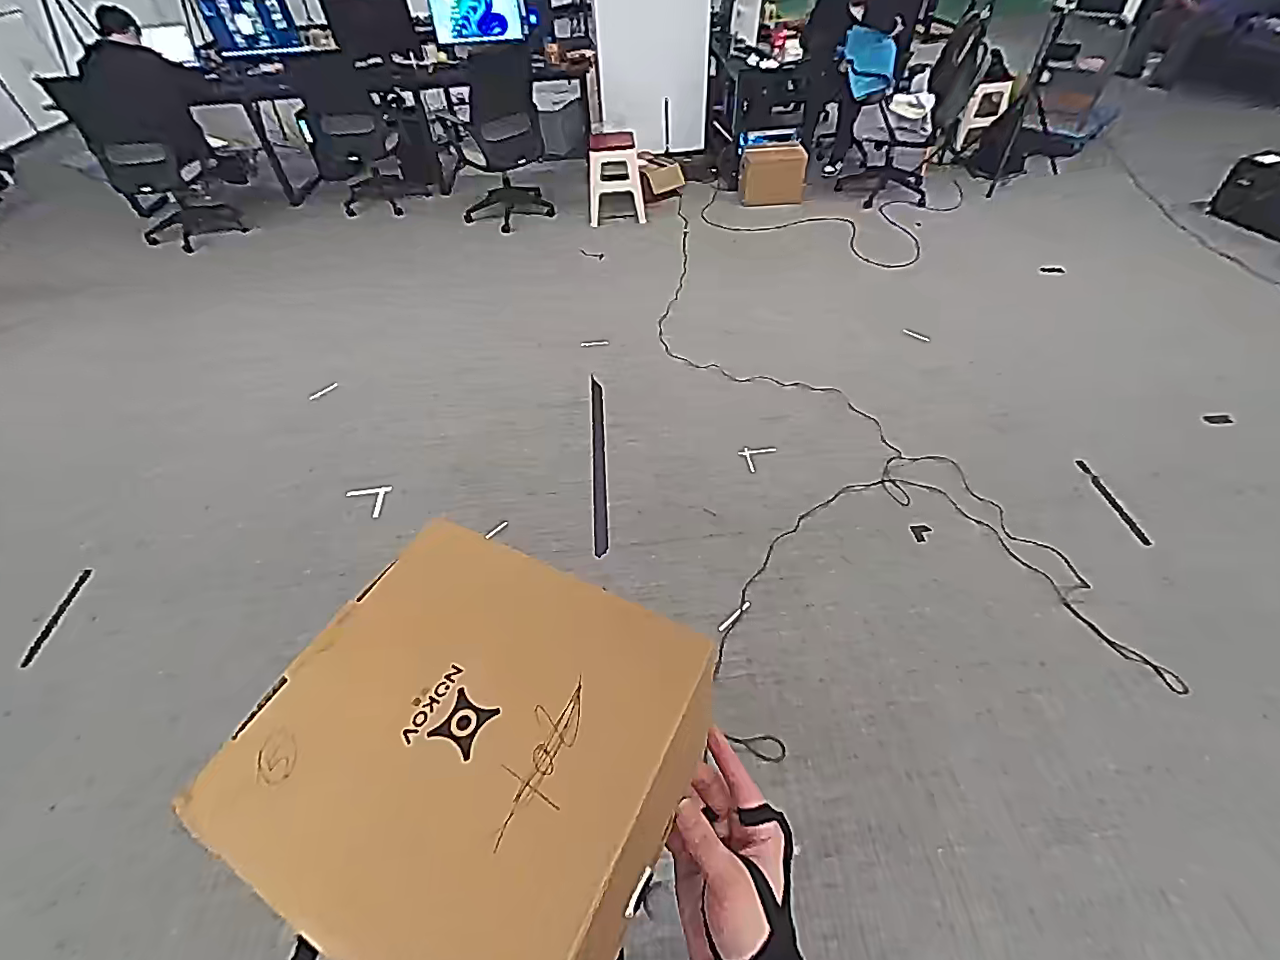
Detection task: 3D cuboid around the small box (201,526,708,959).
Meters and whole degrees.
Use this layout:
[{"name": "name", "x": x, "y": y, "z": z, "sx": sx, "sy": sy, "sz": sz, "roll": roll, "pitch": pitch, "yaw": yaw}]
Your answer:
[{"name": "small box", "x": -0.074, "y": 0.161, "z": 0.309, "sx": 0.179, "sy": 0.176, "sz": 0.168, "roll": 20, "pitch": 55, "yaw": 20}]
